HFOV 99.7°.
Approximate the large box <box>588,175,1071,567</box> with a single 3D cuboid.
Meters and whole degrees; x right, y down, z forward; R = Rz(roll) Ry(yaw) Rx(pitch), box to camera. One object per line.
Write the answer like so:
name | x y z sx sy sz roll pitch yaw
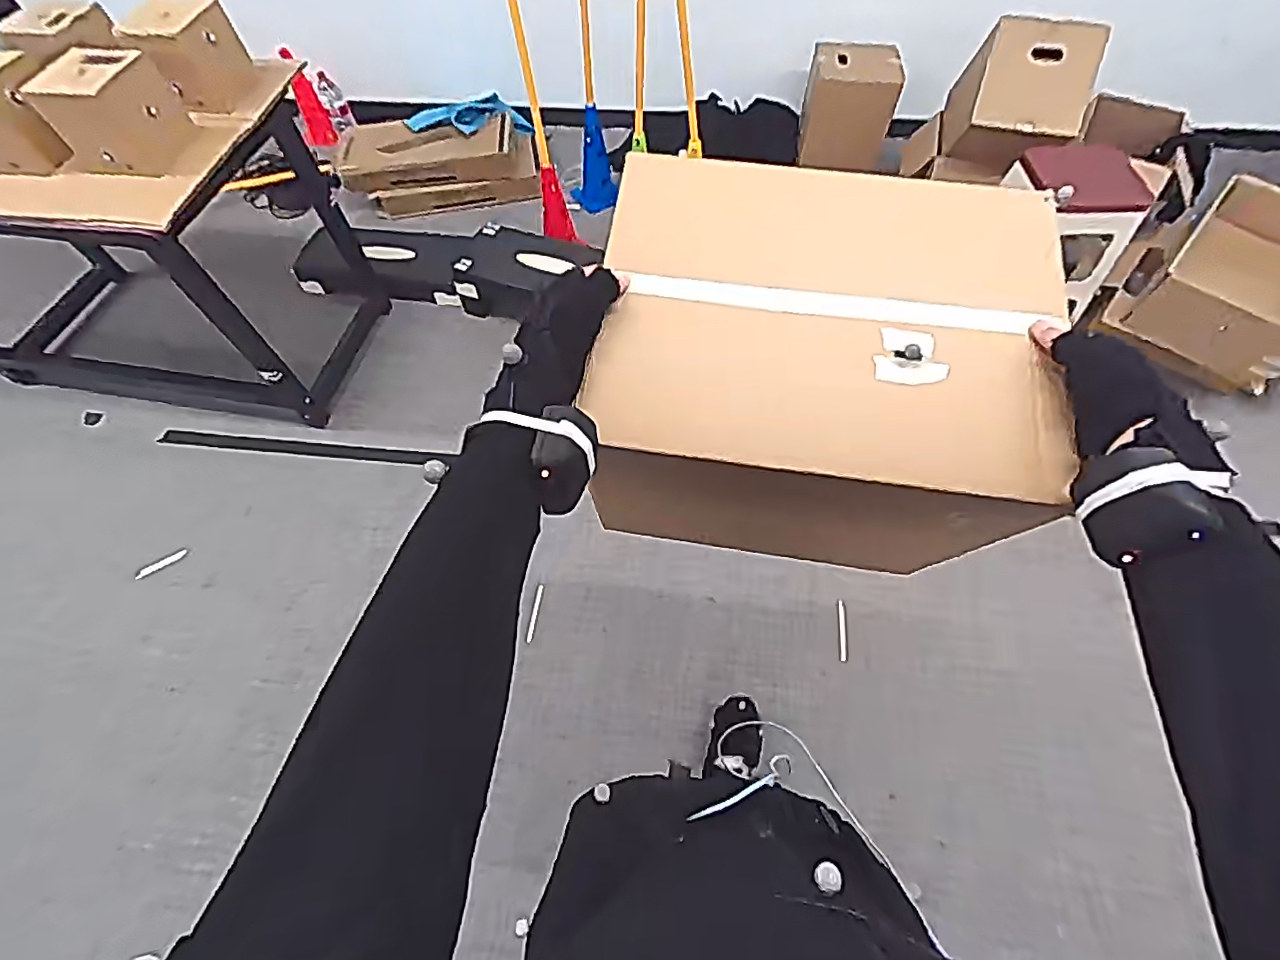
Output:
large box | 0.173 -0.098 0.632 0.408 0.320 0.320 8 73 4
